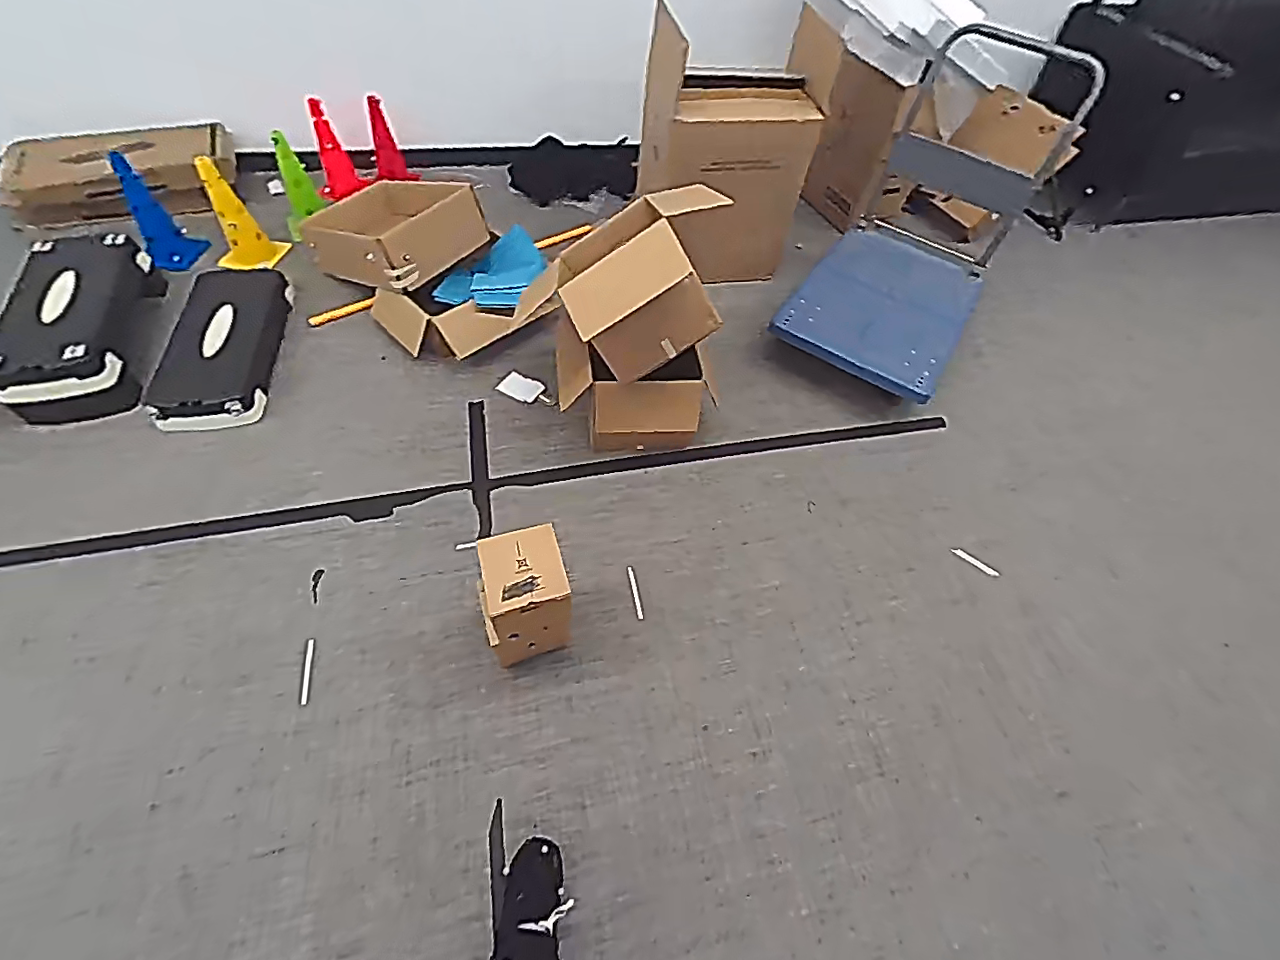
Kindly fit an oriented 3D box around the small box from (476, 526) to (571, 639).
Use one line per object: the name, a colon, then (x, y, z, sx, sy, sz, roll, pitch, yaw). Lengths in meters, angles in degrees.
small box: (-0.249, 0.230, 1.175, 0.168, 0.176, 0.179, -12, 57, -15)
